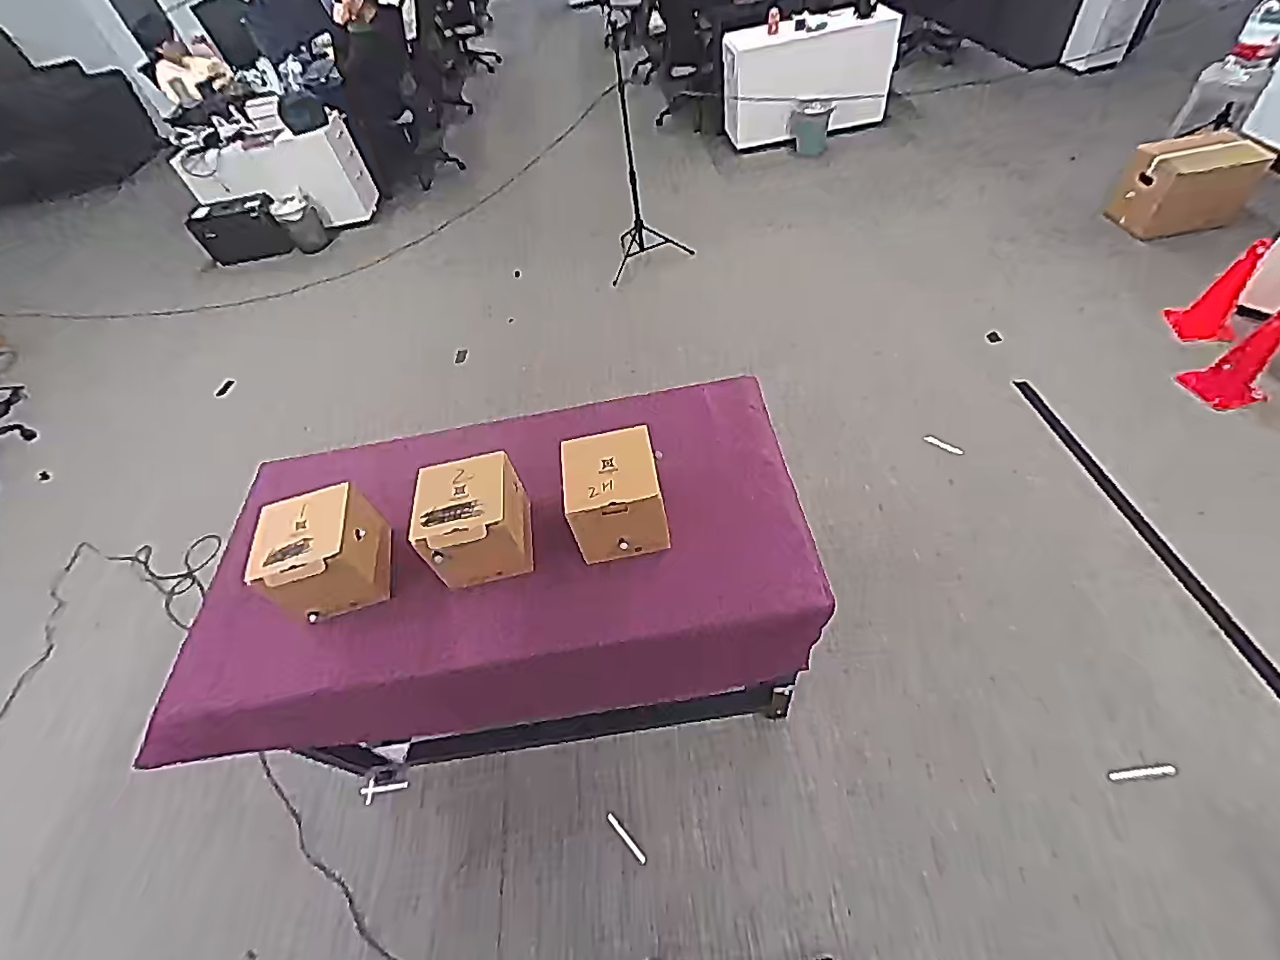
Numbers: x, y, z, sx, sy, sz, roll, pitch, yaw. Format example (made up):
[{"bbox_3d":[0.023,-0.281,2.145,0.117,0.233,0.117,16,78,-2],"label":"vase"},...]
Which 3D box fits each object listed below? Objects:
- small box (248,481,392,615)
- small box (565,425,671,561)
[{"bbox_3d":[-0.588,0.136,1.020,0.168,0.176,0.179,-17,50,-4],"label":"small box"},{"bbox_3d":[-0.041,0.027,1.012,0.168,0.176,0.179,-11,51,2],"label":"small box"}]
